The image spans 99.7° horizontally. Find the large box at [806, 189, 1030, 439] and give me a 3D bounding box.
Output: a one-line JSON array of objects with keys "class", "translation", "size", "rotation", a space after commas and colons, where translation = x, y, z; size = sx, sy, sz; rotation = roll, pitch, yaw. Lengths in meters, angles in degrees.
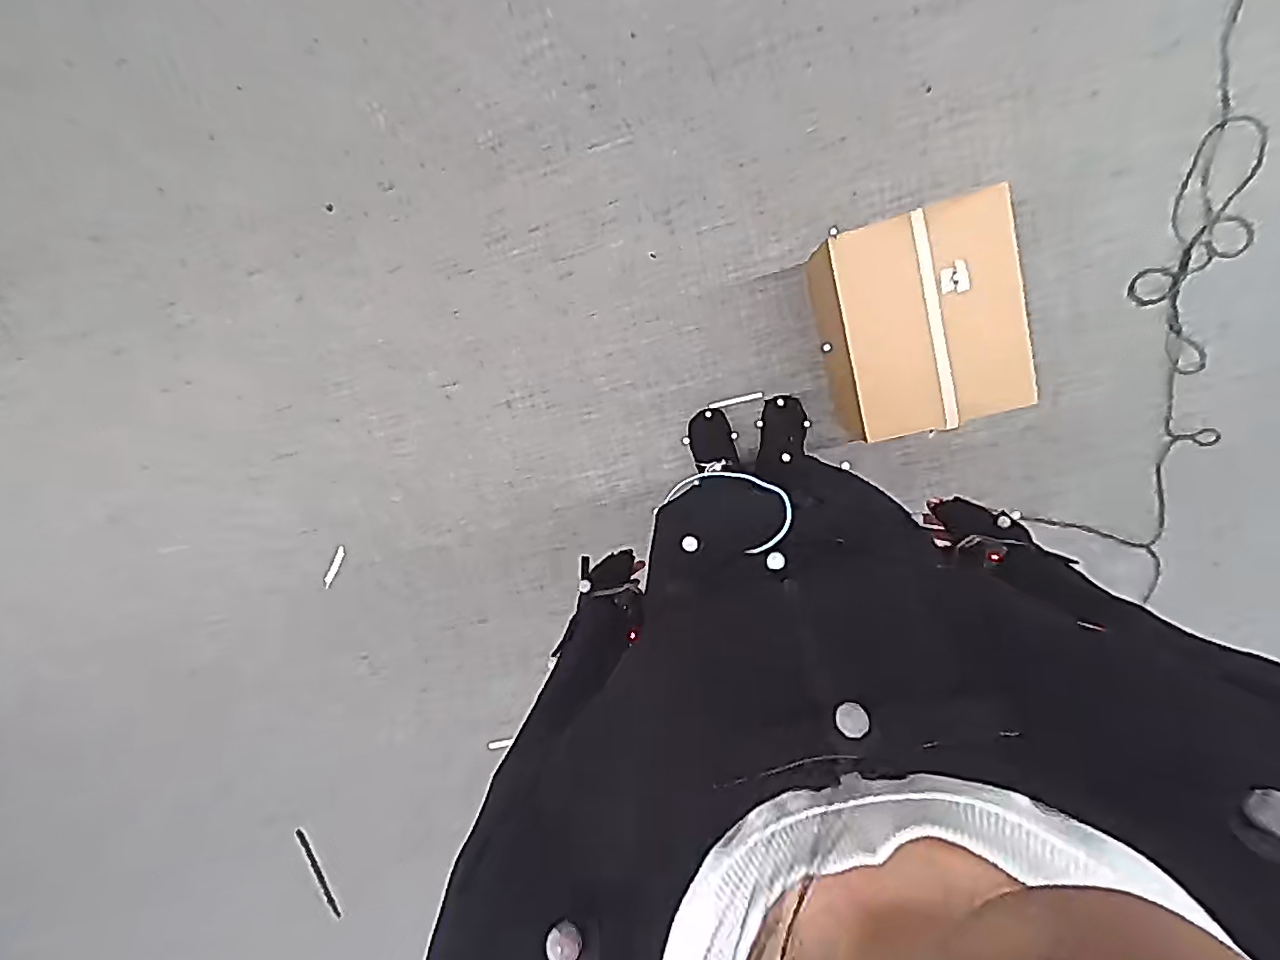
[{"class": "large box", "translation": [0.575, -0.334, 1.179], "size": [0.320, 0.320, 0.408], "rotation": [-14, 99, 10]}]
